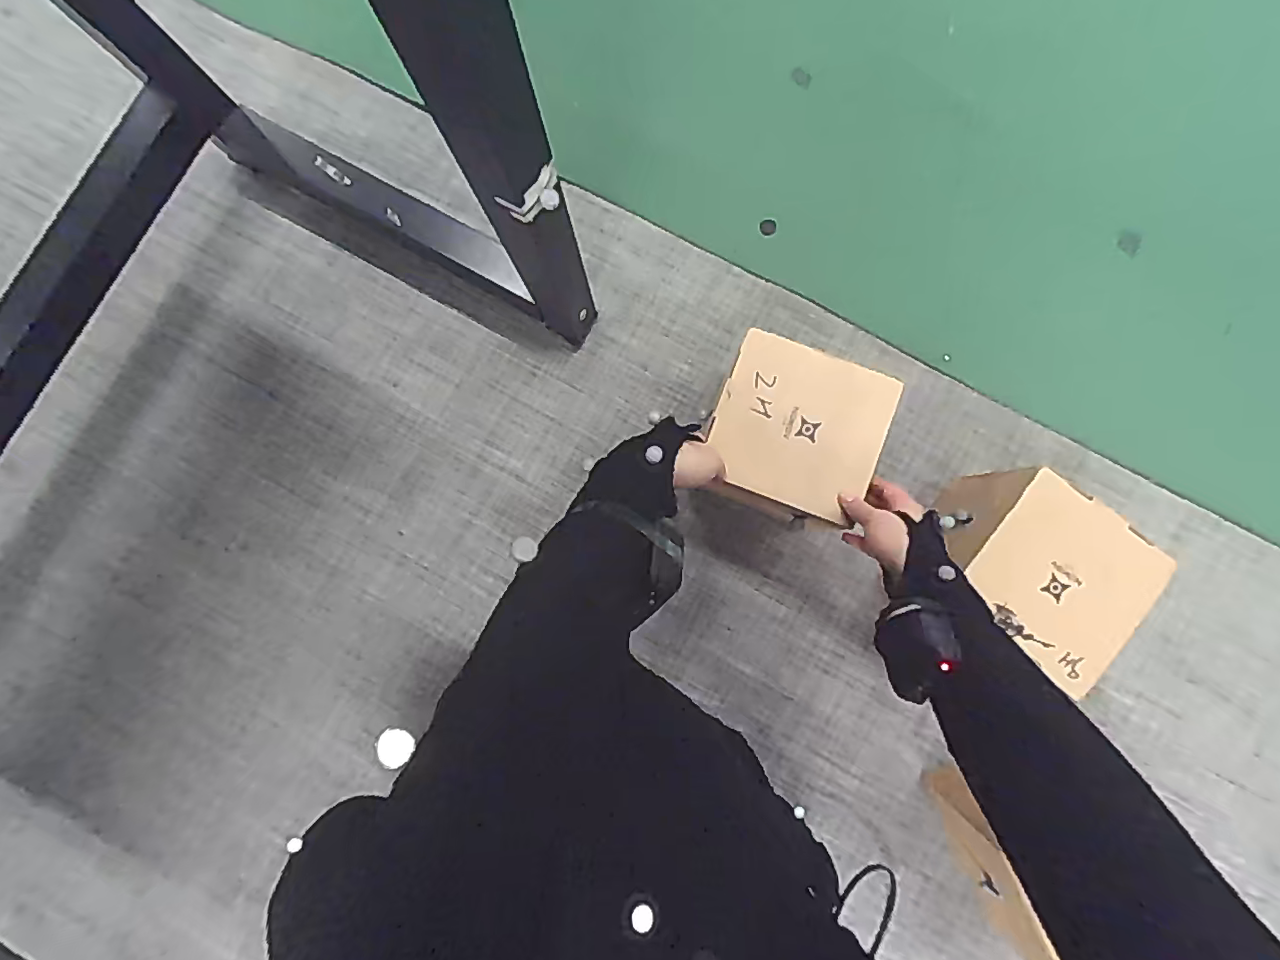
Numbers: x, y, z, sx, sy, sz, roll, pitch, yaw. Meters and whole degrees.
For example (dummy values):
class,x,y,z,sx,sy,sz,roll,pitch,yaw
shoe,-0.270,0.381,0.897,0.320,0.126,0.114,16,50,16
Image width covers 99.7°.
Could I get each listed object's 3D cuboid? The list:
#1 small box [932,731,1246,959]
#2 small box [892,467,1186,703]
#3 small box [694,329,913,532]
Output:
class,x,y,z,sx,sy,sz,roll,pitch,yaw
small box,0.463,0.412,0.590,0.168,0.176,0.179,-23,84,0
small box,0.427,0.107,0.614,0.168,0.176,0.179,38,88,4
small box,0.175,-0.048,0.636,0.179,0.176,0.168,21,86,4
